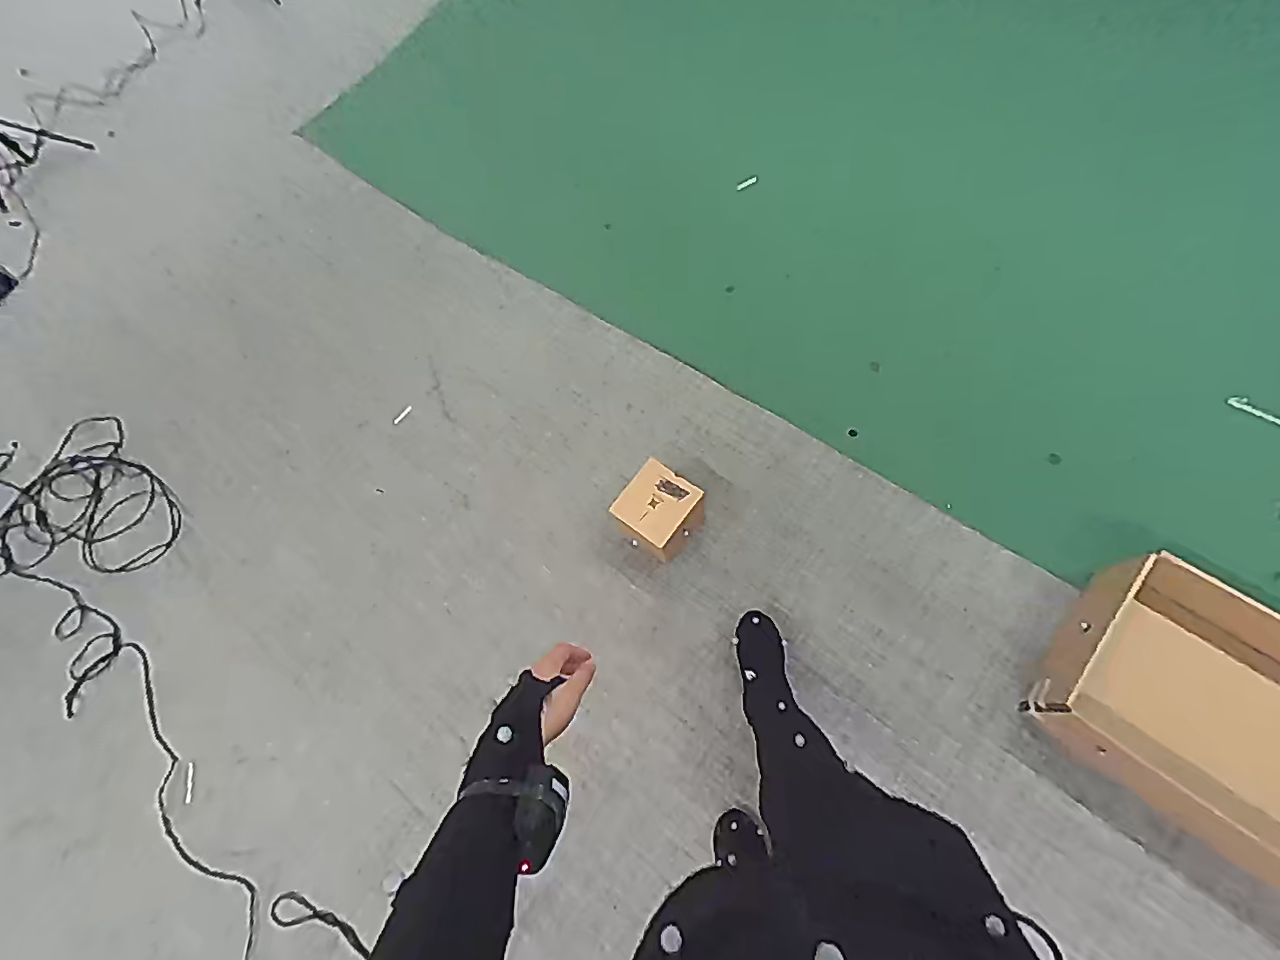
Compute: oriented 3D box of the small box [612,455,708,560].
[{"bbox_3d":[0.054,0.074,1.354,0.168,0.176,0.179,36,79,18],"label":"small box"}]
